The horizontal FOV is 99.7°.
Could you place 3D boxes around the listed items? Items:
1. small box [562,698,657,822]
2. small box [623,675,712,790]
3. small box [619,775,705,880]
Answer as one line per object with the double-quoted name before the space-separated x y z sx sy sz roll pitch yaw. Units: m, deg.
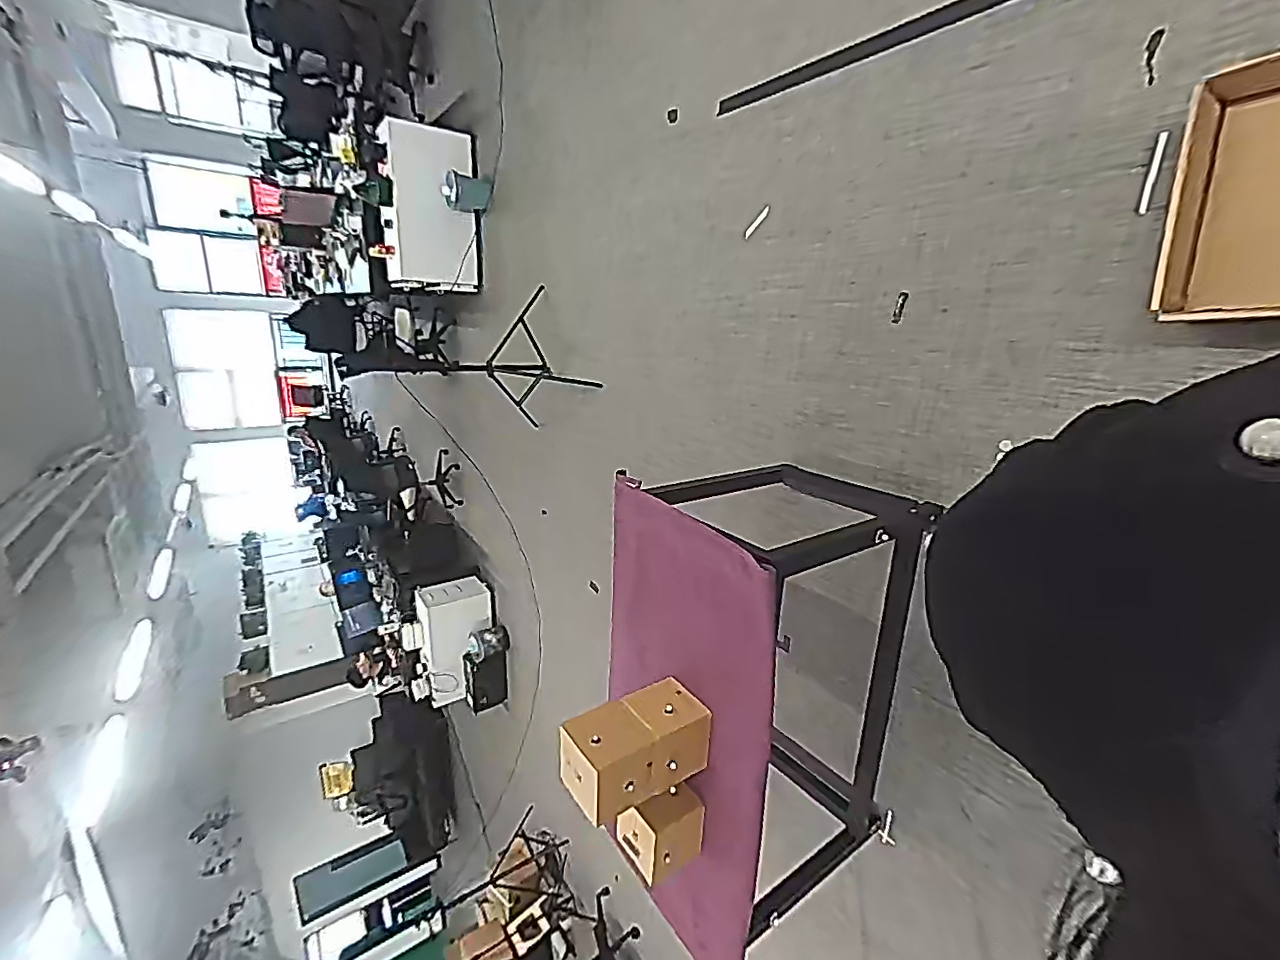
"small box" -0.073 0.659 1.297 0.179 0.176 0.168 25 118 51
"small box" 0.067 0.632 1.381 0.168 0.176 0.179 25 118 51
"small box" 0.059 0.908 1.456 0.168 0.176 0.179 24 116 51
